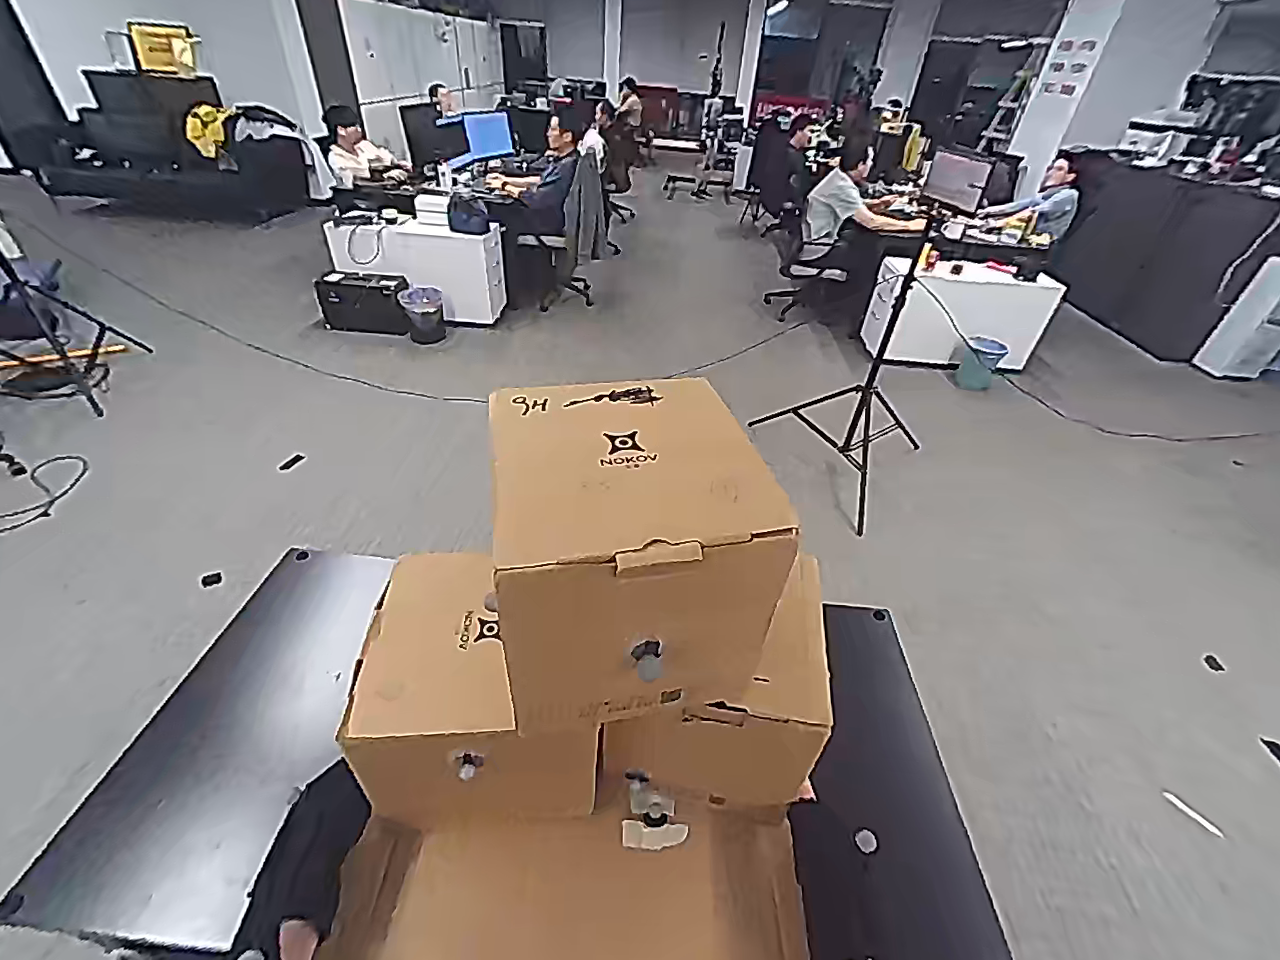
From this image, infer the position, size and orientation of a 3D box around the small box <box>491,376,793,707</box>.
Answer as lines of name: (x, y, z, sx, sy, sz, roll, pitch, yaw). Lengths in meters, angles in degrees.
small box: (-0.014, 0.044, 0.394, 0.168, 0.176, 0.179, -5, 40, -12)

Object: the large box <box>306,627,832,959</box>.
large box: (-0.064, 0.389, 0.608, 0.408, 0.320, 0.320, 3, 38, -4)

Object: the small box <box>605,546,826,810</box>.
small box: (0.065, 0.171, 0.504, 0.168, 0.176, 0.179, 9, 37, 7)
